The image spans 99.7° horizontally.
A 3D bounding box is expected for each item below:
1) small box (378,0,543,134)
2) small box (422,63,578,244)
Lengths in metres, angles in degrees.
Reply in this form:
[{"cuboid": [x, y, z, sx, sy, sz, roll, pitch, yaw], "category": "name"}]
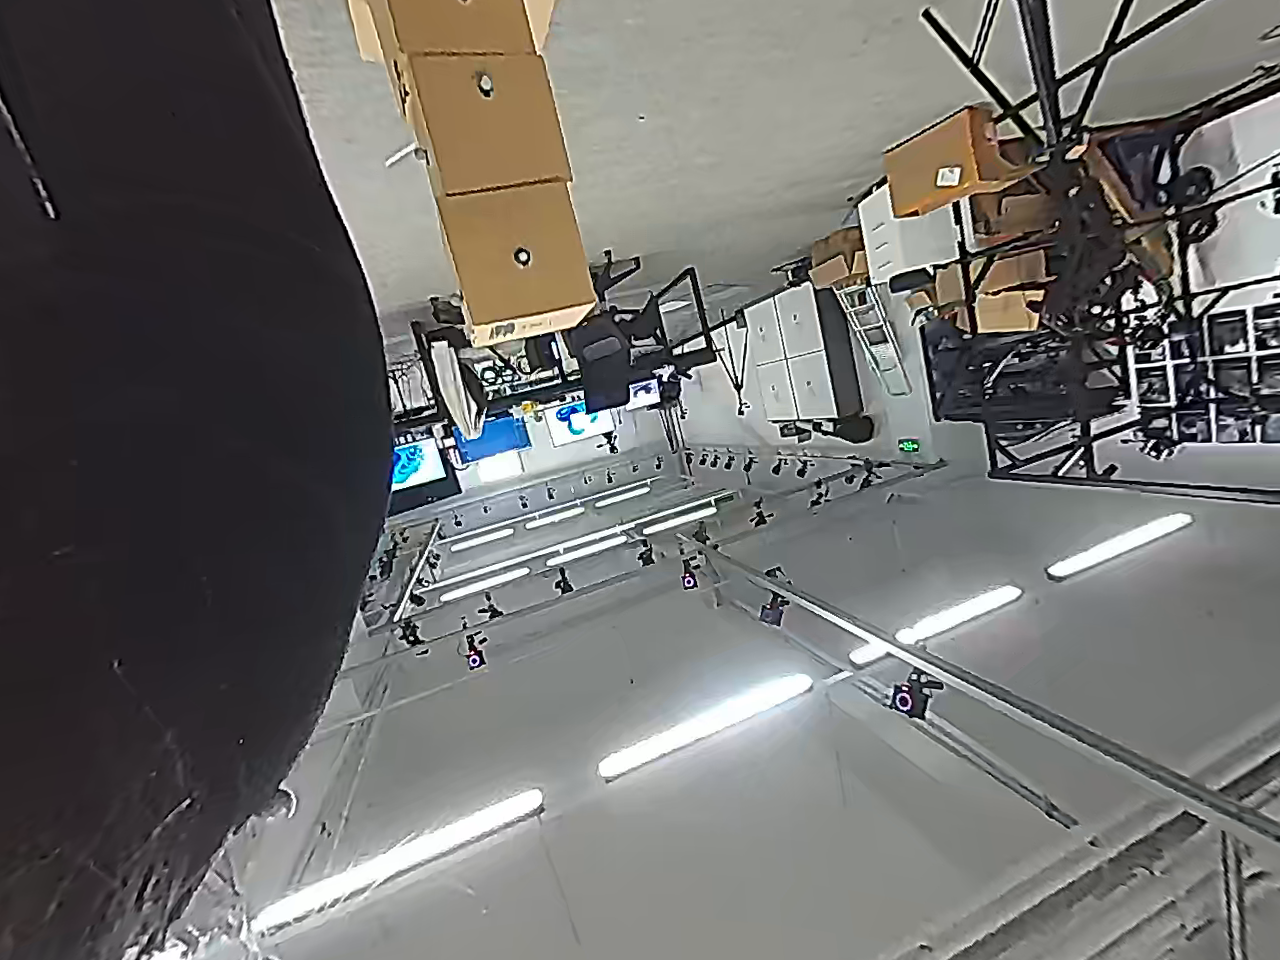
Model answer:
[{"cuboid": [-0.257, -0.620, 0.756, 0.179, 0.176, 0.168, -18, -170, -20], "category": "small box"}, {"cuboid": [-0.209, -0.466, 0.784, 0.179, 0.176, 0.168, -16, -171, -18], "category": "small box"}]
